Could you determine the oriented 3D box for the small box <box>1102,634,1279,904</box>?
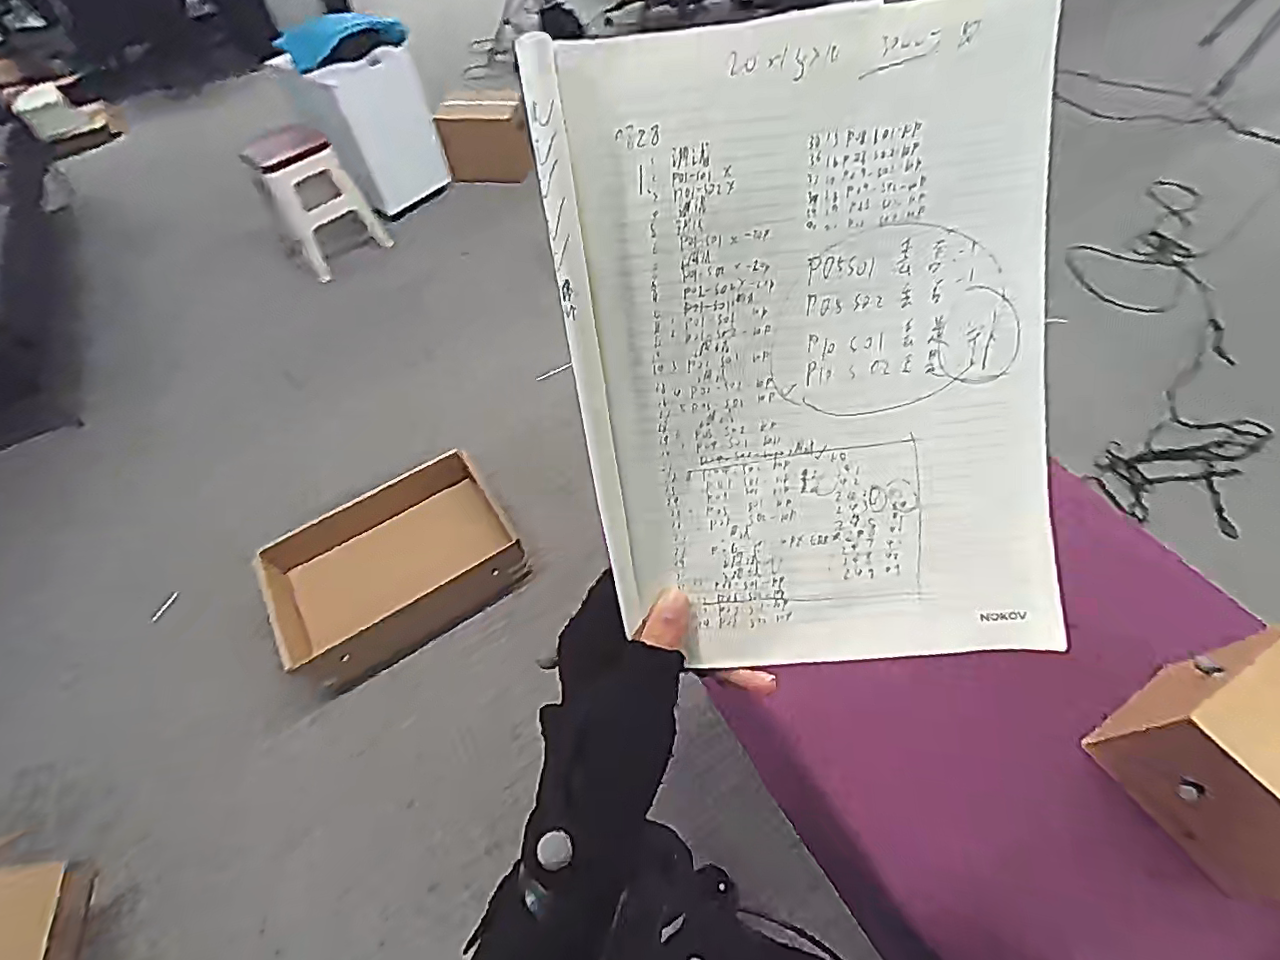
[{"bbox_3d":[0.618,0.285,0.533,0.179,0.176,0.168,-27,57,-15],"label":"small box"}]
